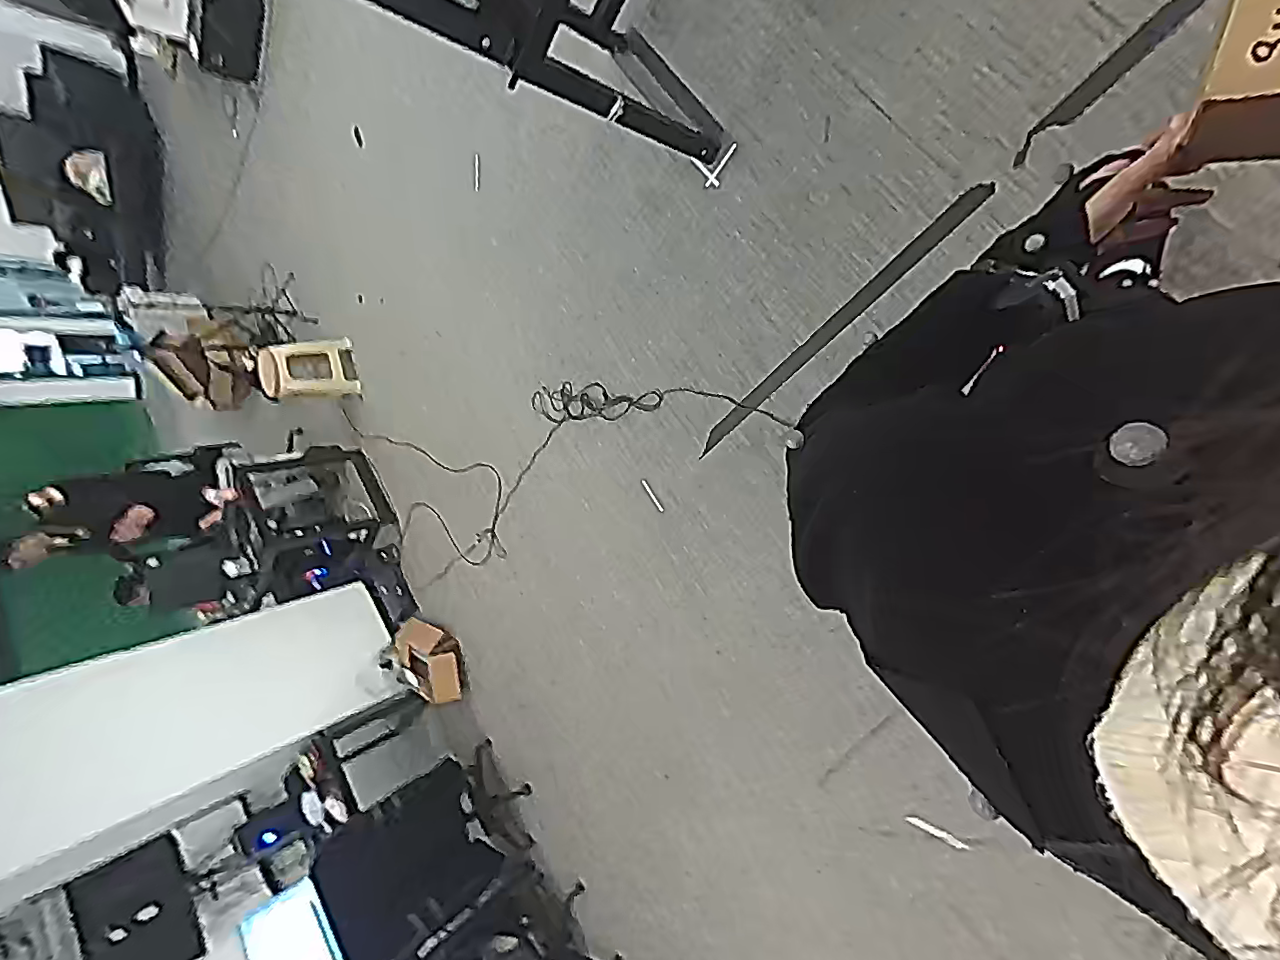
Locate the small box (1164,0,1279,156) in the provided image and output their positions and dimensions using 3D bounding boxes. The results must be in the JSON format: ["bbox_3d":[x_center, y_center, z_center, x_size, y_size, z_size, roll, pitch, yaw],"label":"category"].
[{"bbox_3d":[0.433,-0.292,0.291,0.179,0.176,0.168,18,113,35],"label":"small box"}]
